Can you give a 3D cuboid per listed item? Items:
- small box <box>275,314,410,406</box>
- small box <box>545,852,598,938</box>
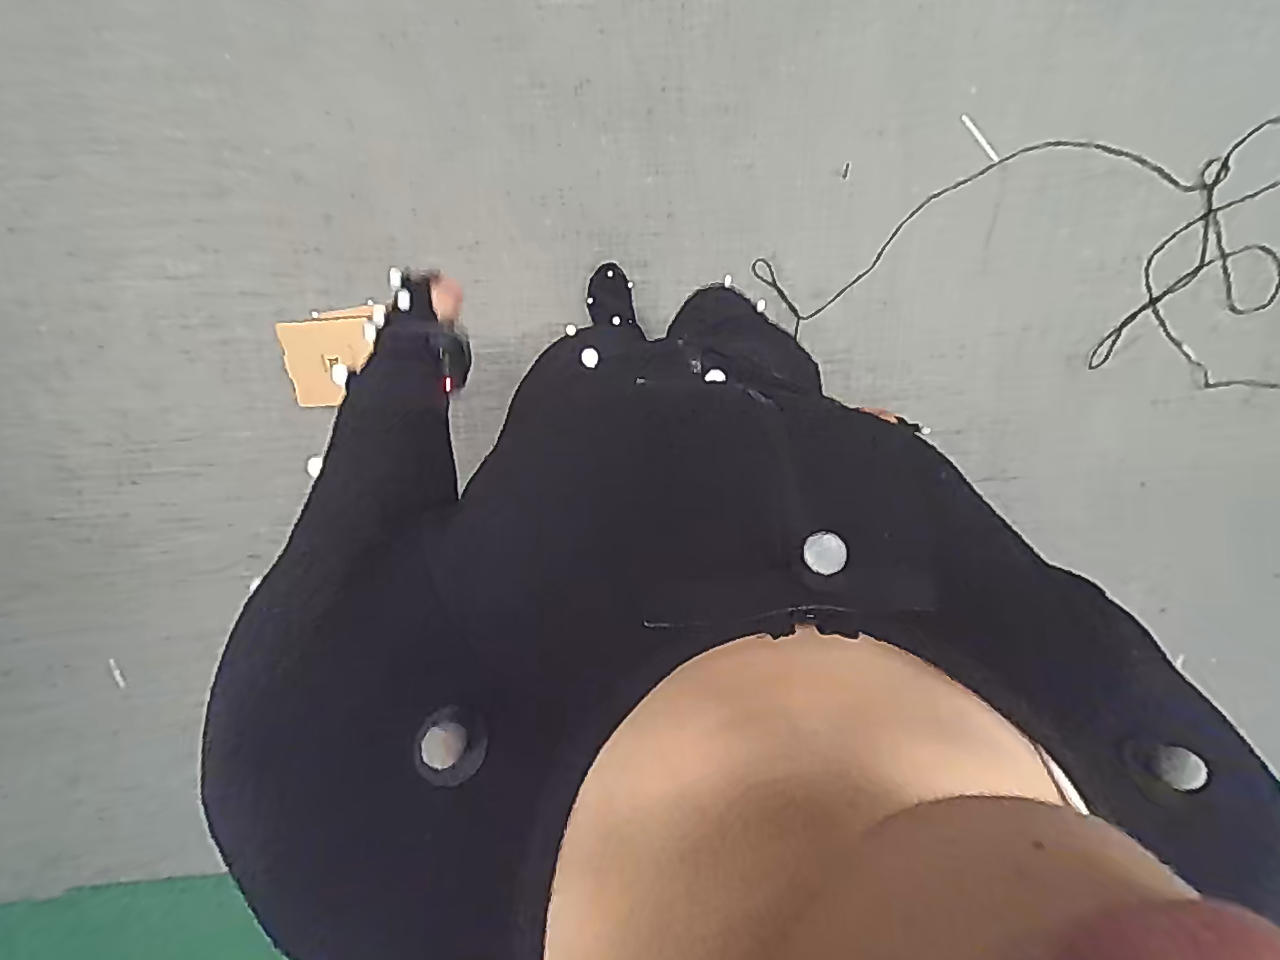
[{"bbox_3d":[-0.611,-0.256,1.134,0.179,0.176,0.168,-5,110,-3],"label":"small box"},{"bbox_3d":[-0.230,1.403,1.833,0.168,0.176,0.179,2,108,-5],"label":"small box"}]
